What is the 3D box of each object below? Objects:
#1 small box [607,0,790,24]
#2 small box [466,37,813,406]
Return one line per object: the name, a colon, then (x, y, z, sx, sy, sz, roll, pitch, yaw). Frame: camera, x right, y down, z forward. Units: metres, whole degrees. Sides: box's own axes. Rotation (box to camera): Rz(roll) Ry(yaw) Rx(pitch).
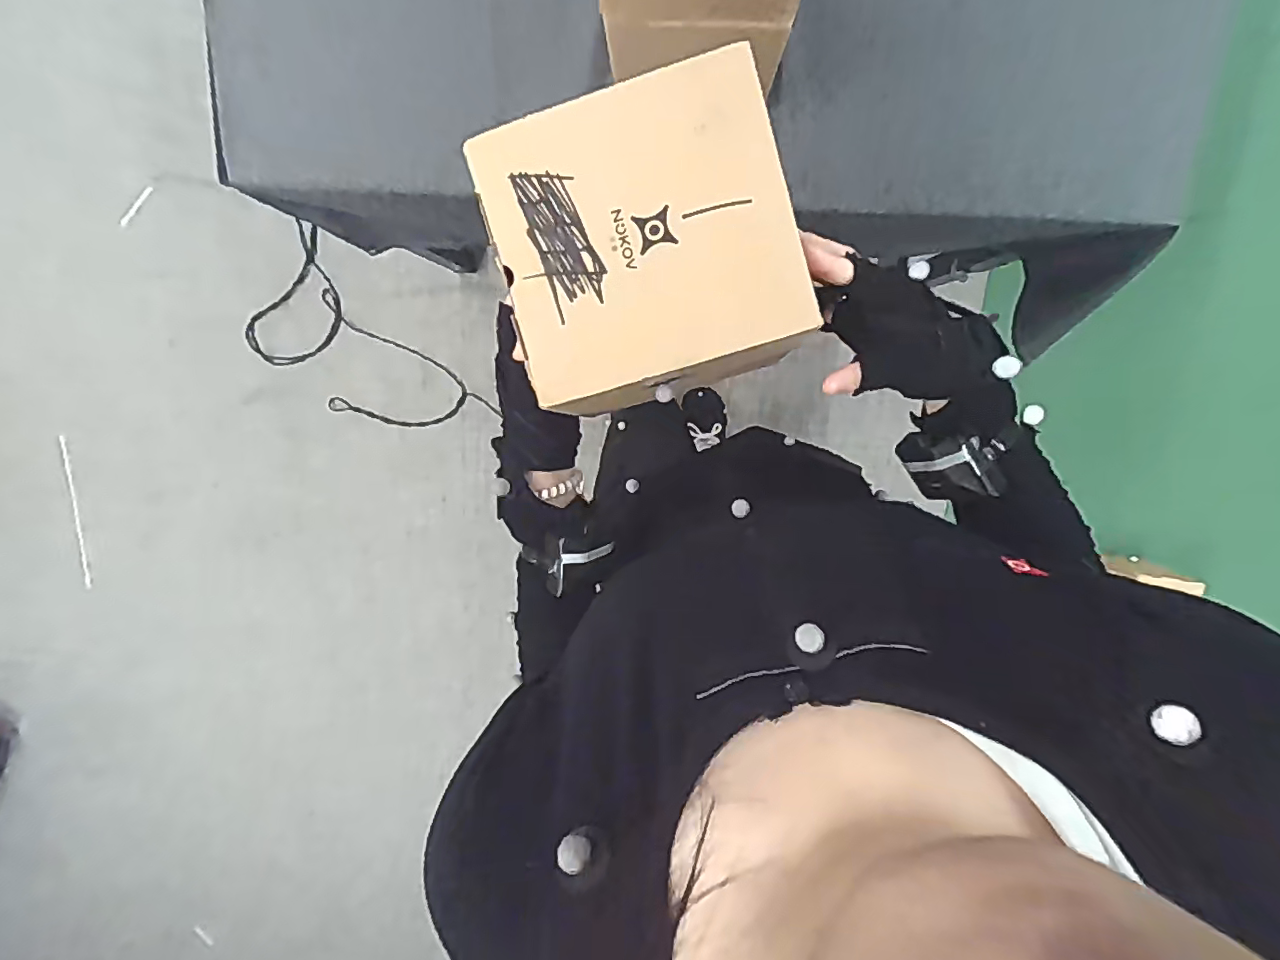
small box: (0.056, -0.486, 0.406, 0.179, 0.176, 0.168, 3, 101, 3)
small box: (0.006, -0.156, 0.397, 0.179, 0.176, 0.168, -15, 94, 6)
